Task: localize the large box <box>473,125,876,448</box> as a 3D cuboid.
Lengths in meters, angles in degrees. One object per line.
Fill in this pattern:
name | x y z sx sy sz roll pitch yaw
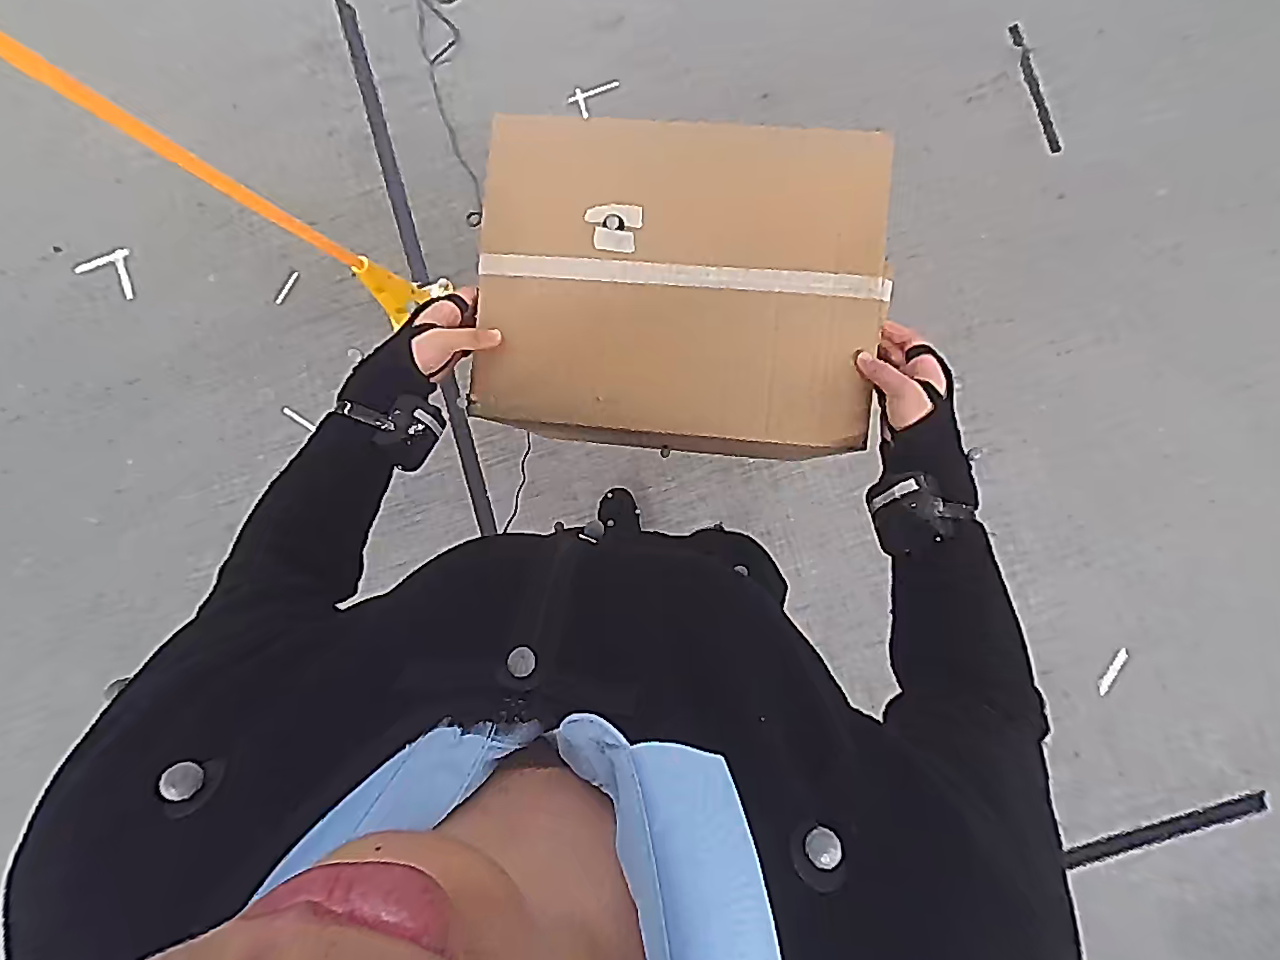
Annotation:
large box | 0.044 -0.210 0.701 0.408 0.320 0.320 4 89 5
